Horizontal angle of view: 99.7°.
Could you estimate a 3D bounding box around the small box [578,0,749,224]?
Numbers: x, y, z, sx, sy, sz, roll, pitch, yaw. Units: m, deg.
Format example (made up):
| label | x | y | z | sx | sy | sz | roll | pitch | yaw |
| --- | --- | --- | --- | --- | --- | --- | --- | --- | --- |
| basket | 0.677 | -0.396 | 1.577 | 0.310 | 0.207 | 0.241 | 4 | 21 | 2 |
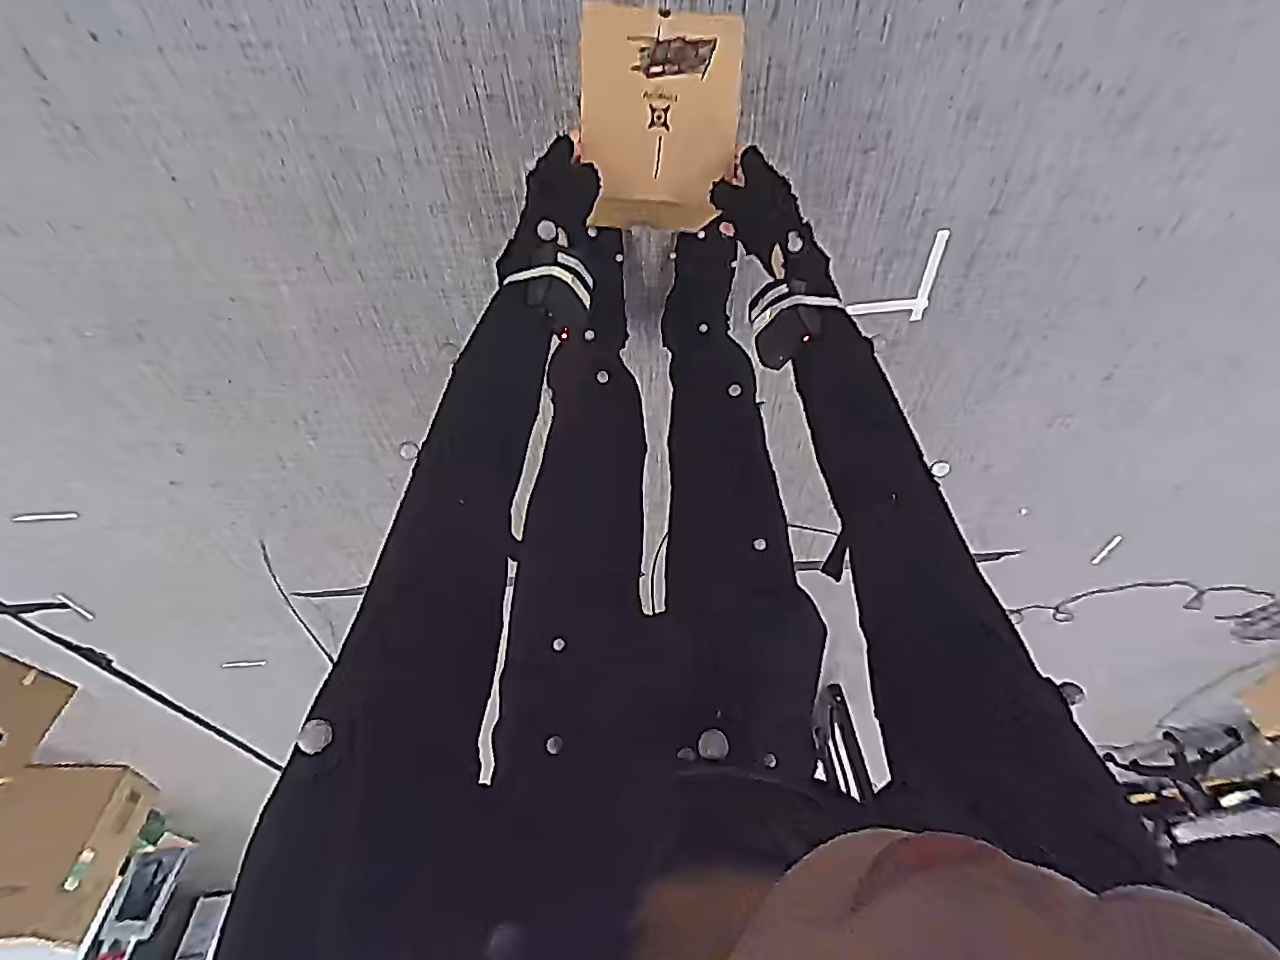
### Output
| label | x | y | z | sx | sy | sz | roll | pitch | yaw |
| --- | --- | --- | --- | --- | --- | --- | --- | --- | --- |
| small box | 0.014 | -0.409 | 0.623 | 0.168 | 0.176 | 0.179 | 0 | 107 | -7 |
